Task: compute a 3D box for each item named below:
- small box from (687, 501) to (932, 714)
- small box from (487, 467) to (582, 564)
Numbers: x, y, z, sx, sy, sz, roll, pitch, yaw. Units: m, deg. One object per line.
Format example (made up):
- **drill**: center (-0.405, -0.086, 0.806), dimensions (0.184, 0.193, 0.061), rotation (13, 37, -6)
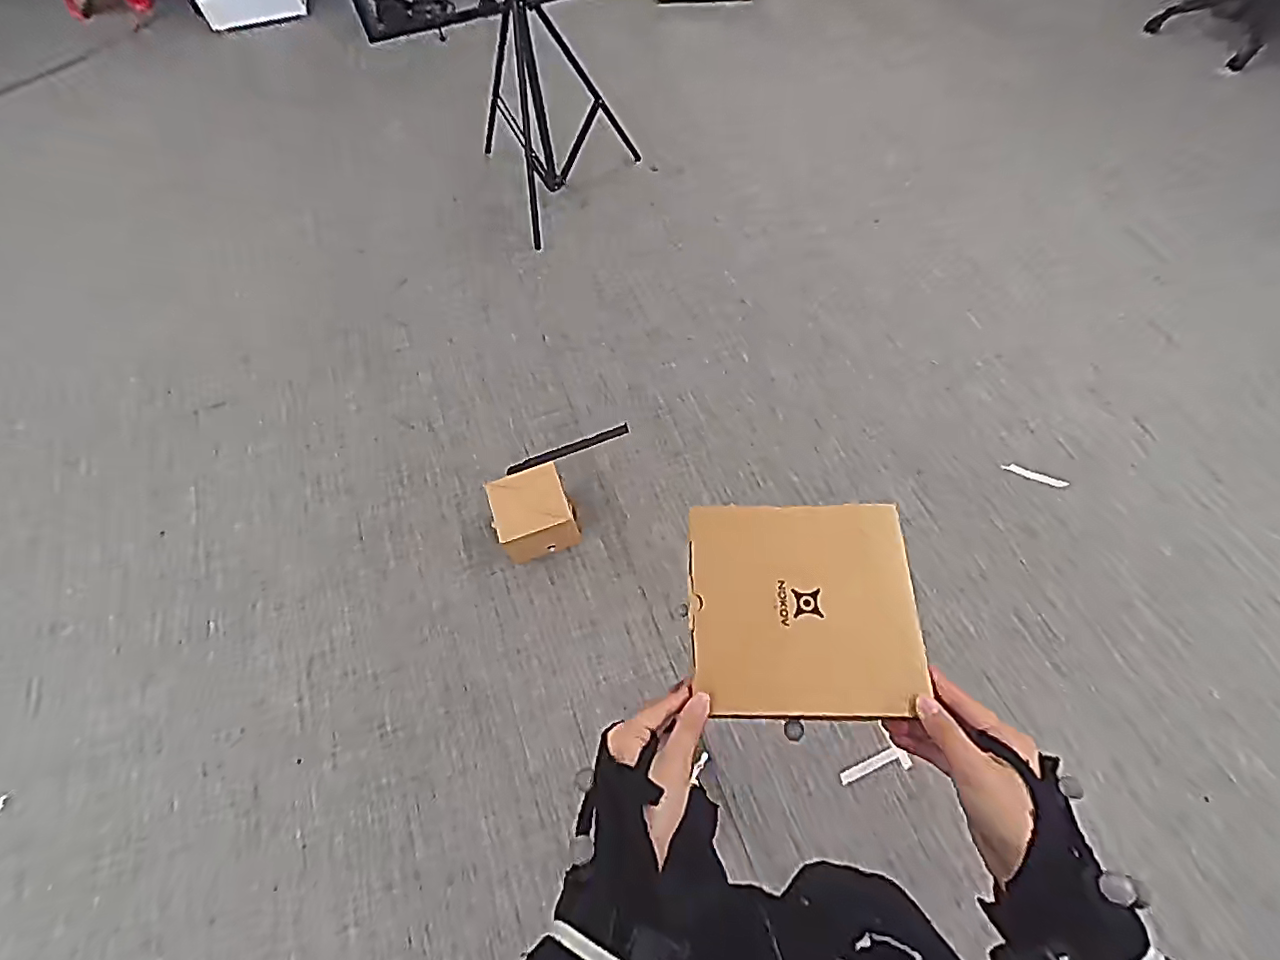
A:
- **small box**: center (0.133, 0.124, 0.500), dimensions (0.179, 0.176, 0.168), rotation (-1, 66, 5)
- **small box**: center (-0.261, 0.087, 1.353), dimensions (0.179, 0.176, 0.168), rotation (-19, 65, -7)
